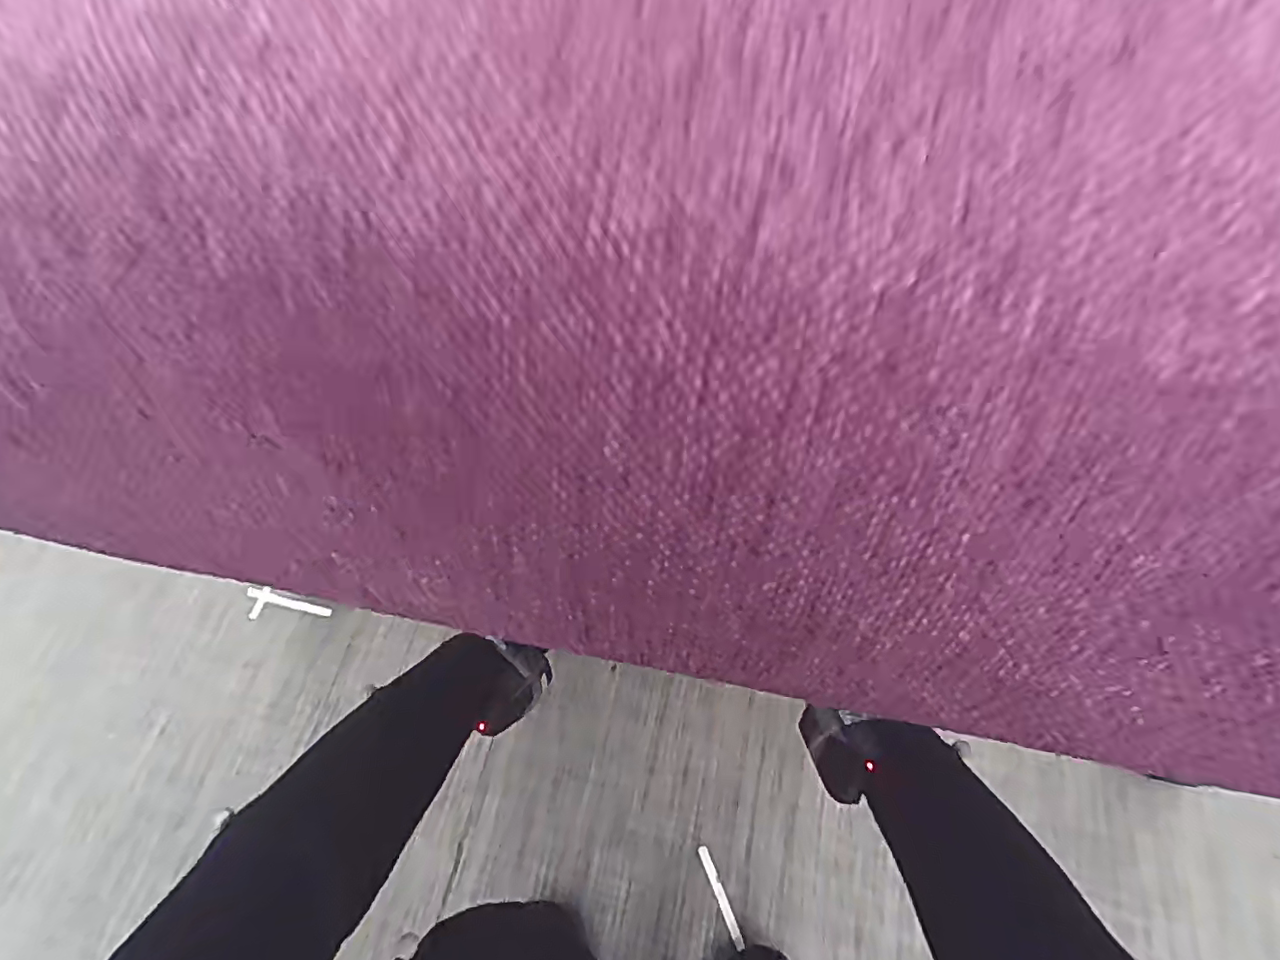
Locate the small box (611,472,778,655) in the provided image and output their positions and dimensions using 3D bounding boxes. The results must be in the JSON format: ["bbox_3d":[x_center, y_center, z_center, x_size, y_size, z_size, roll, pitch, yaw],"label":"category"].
[{"bbox_3d":[0.069,0.116,0.699,0.168,0.176,0.179,12,66,7],"label":"small box"}]
